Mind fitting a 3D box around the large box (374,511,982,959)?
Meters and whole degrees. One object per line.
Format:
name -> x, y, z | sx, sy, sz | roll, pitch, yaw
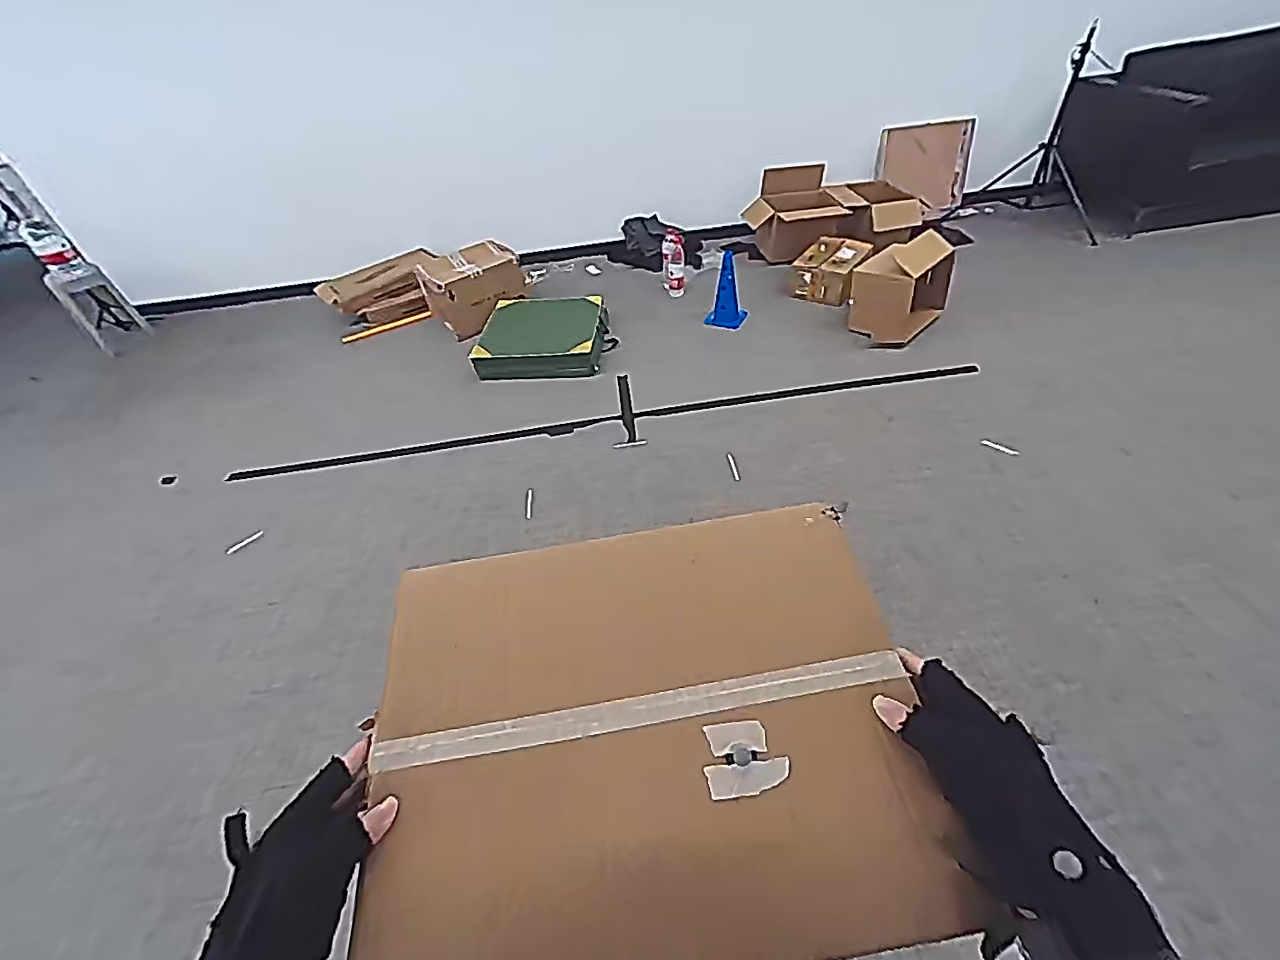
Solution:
large box -> 0.014, 0.271, 0.546 | 0.408, 0.320, 0.320 | -9, 54, -1
